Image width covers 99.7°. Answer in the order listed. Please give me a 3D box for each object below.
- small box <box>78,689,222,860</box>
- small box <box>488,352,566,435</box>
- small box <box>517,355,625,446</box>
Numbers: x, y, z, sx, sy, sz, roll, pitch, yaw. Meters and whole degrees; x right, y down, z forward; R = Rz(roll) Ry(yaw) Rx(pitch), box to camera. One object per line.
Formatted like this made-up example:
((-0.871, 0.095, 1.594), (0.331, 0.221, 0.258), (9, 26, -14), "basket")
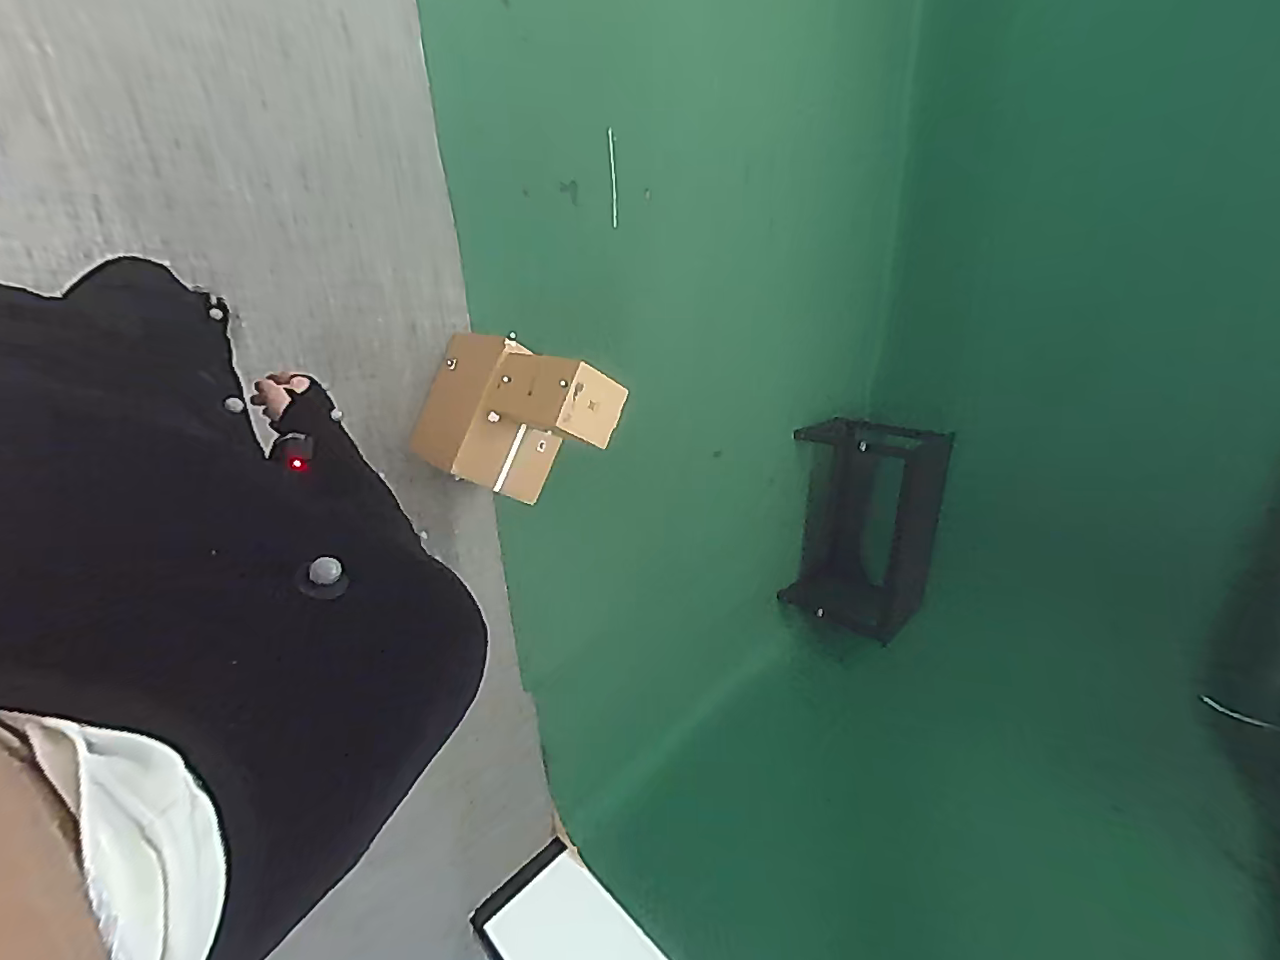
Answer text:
((-0.882, 0.517, 0.977), (0.168, 0.176, 0.179), (-13, 112, -43), "small box")
((-0.283, -0.242, 1.488), (0.179, 0.176, 0.168), (26, 85, -47), "small box")
((-0.175, -0.205, 1.370), (0.179, 0.176, 0.168), (25, 86, -48), "small box")
